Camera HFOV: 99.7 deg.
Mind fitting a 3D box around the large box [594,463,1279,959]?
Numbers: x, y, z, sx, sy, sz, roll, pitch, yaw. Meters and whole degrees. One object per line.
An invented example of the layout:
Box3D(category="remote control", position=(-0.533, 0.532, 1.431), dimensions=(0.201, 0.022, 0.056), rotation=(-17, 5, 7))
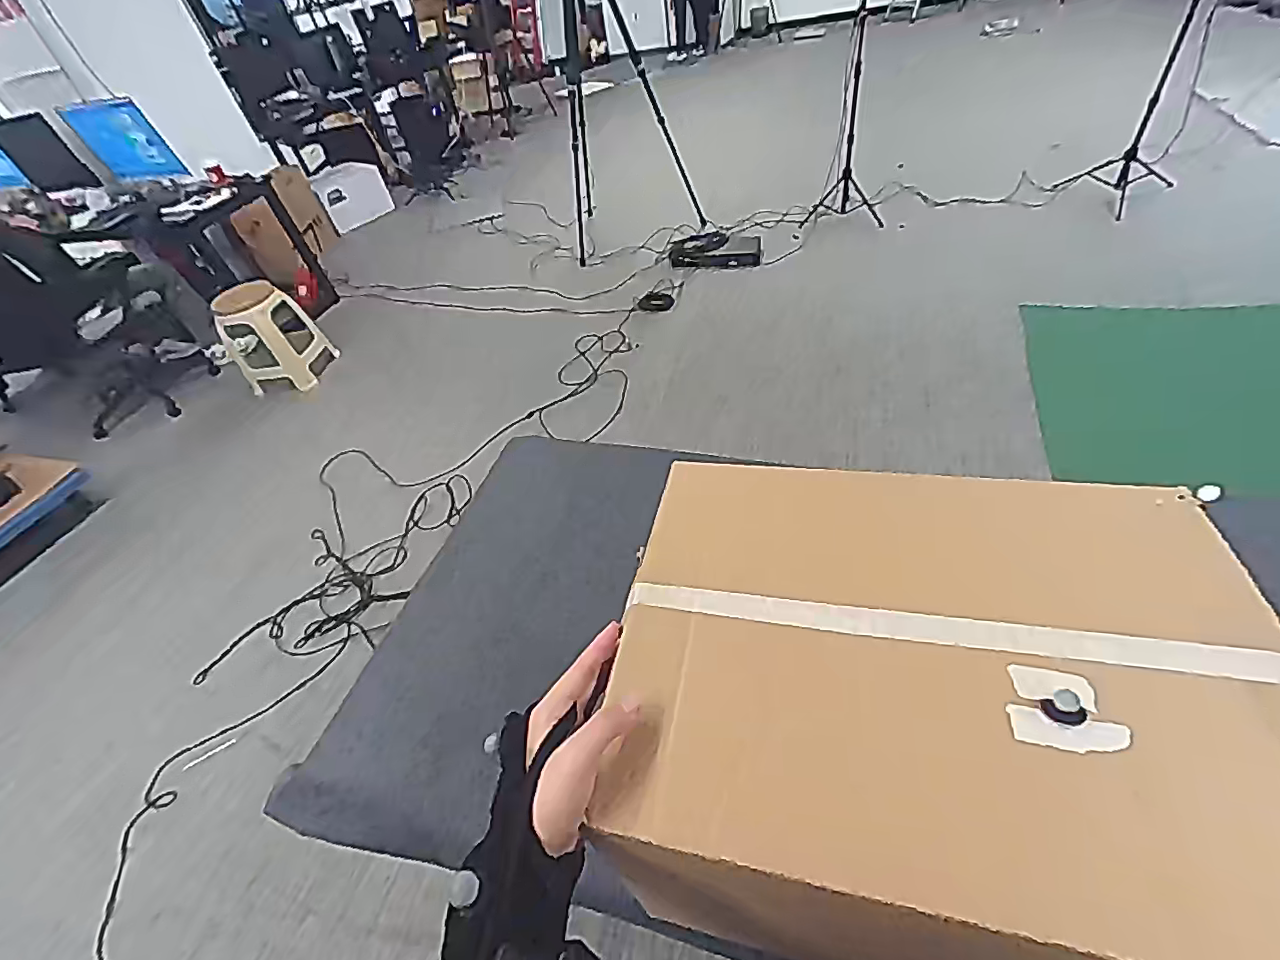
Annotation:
Box3D(category="large box", position=(0.211, 0.207, 0.478), dimensions=(0.408, 0.320, 0.320), rotation=(4, 46, 15))
